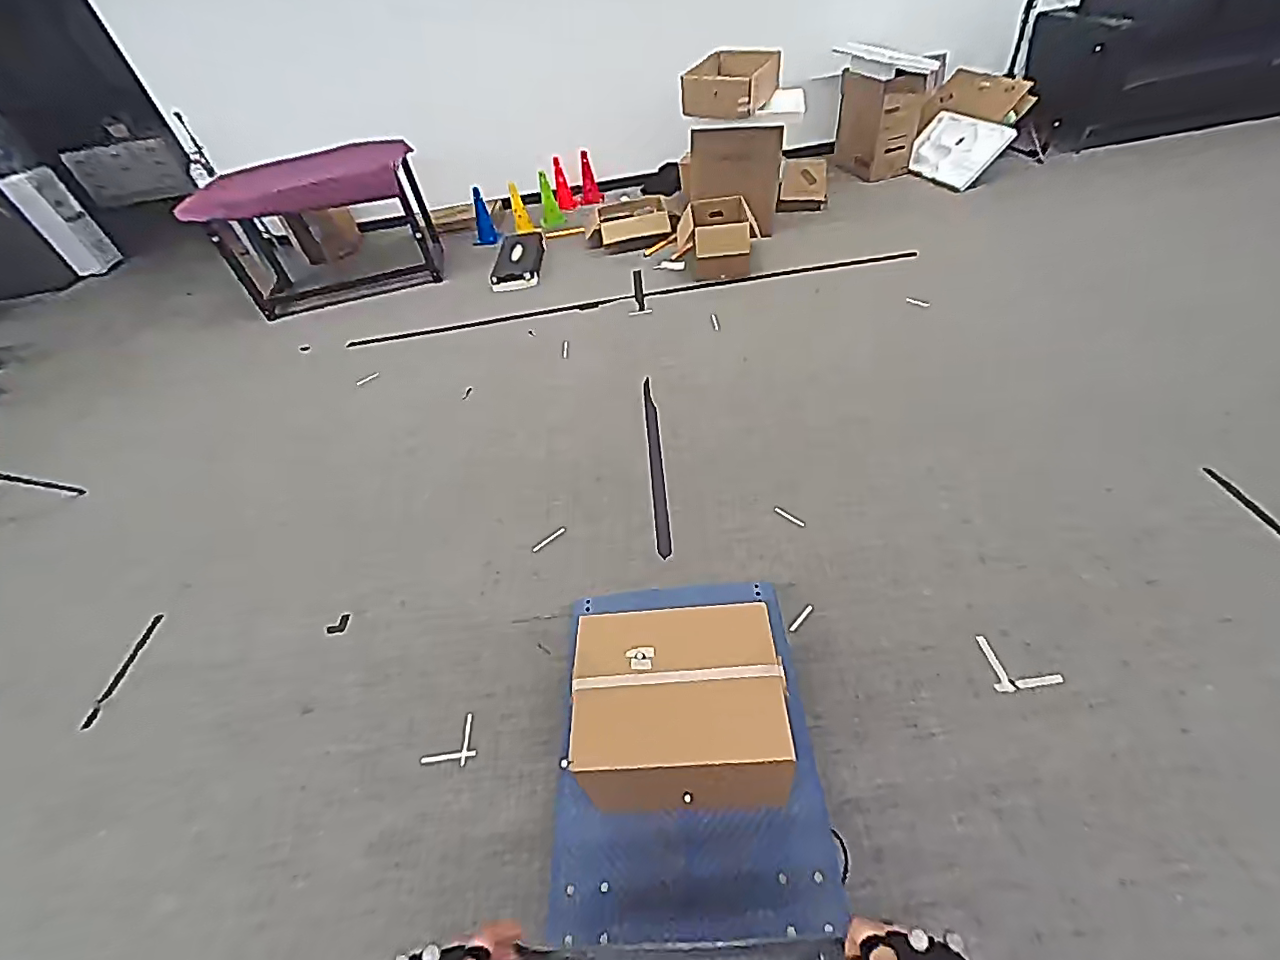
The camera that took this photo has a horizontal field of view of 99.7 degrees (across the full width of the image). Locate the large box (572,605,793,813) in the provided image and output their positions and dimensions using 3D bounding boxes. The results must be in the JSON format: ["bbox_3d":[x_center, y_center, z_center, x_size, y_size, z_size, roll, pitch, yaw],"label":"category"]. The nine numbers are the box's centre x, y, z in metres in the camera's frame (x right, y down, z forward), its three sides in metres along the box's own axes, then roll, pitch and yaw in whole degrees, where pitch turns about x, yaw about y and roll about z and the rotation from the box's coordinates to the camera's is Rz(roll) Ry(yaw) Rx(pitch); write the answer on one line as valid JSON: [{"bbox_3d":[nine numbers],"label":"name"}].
[{"bbox_3d":[0.092,0.502,1.171,0.408,0.320,0.320,-7,44,6],"label":"large box"}]
